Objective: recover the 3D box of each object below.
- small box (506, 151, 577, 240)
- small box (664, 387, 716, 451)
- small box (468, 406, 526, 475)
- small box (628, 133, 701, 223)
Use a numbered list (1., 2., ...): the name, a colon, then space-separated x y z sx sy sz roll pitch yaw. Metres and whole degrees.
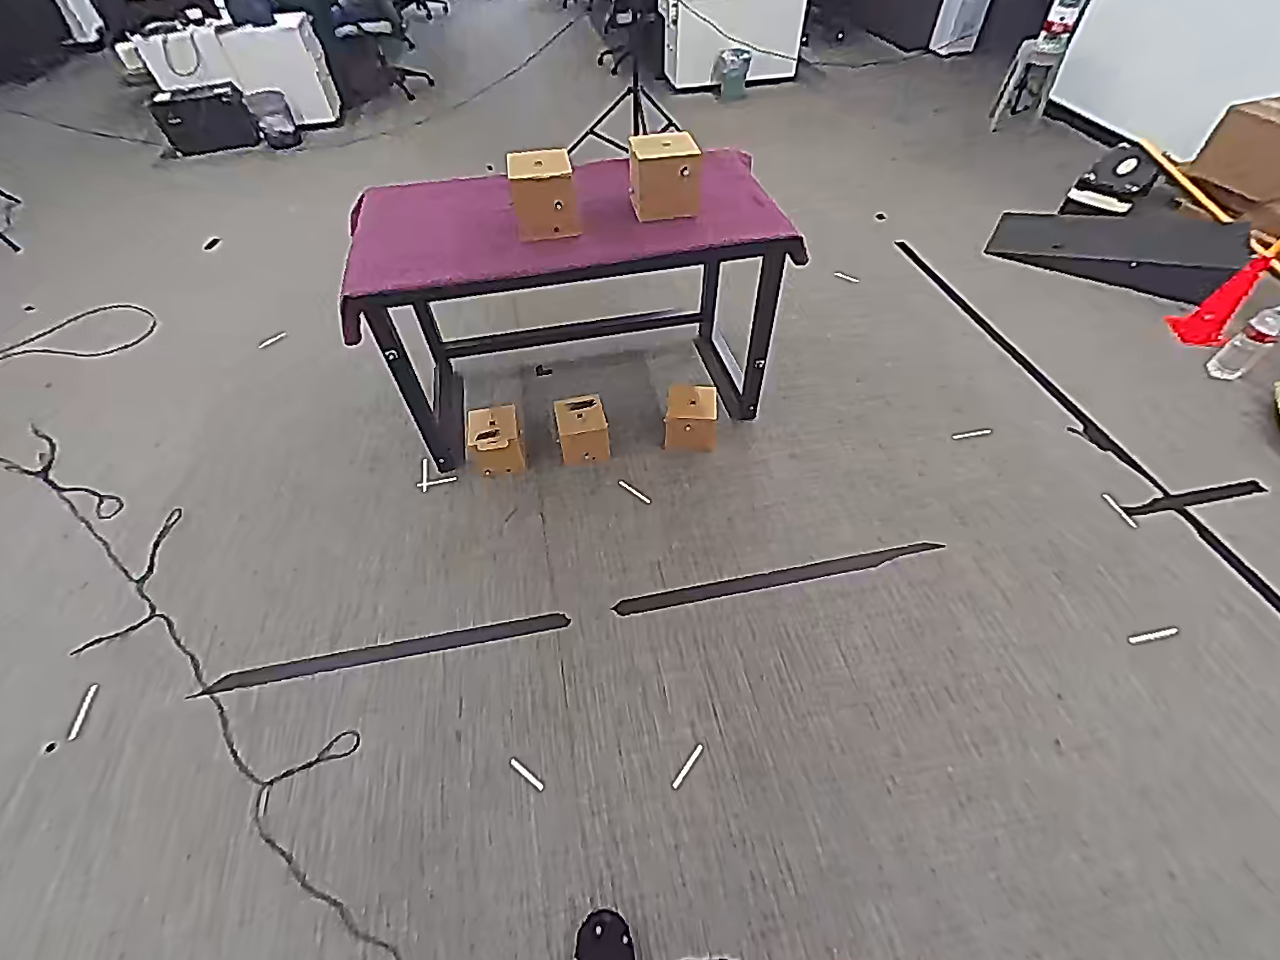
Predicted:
1. small box: -0.268 -0.774 1.484 0.168 0.176 0.179 -9 50 -7
2. small box: 0.181 -0.219 1.963 0.179 0.176 0.168 2 52 5
3. small box: -0.503 -0.132 1.910 0.168 0.176 0.179 -9 51 -6
4. small box: 0.066 -0.858 1.540 0.179 0.176 0.168 -9 51 -5
